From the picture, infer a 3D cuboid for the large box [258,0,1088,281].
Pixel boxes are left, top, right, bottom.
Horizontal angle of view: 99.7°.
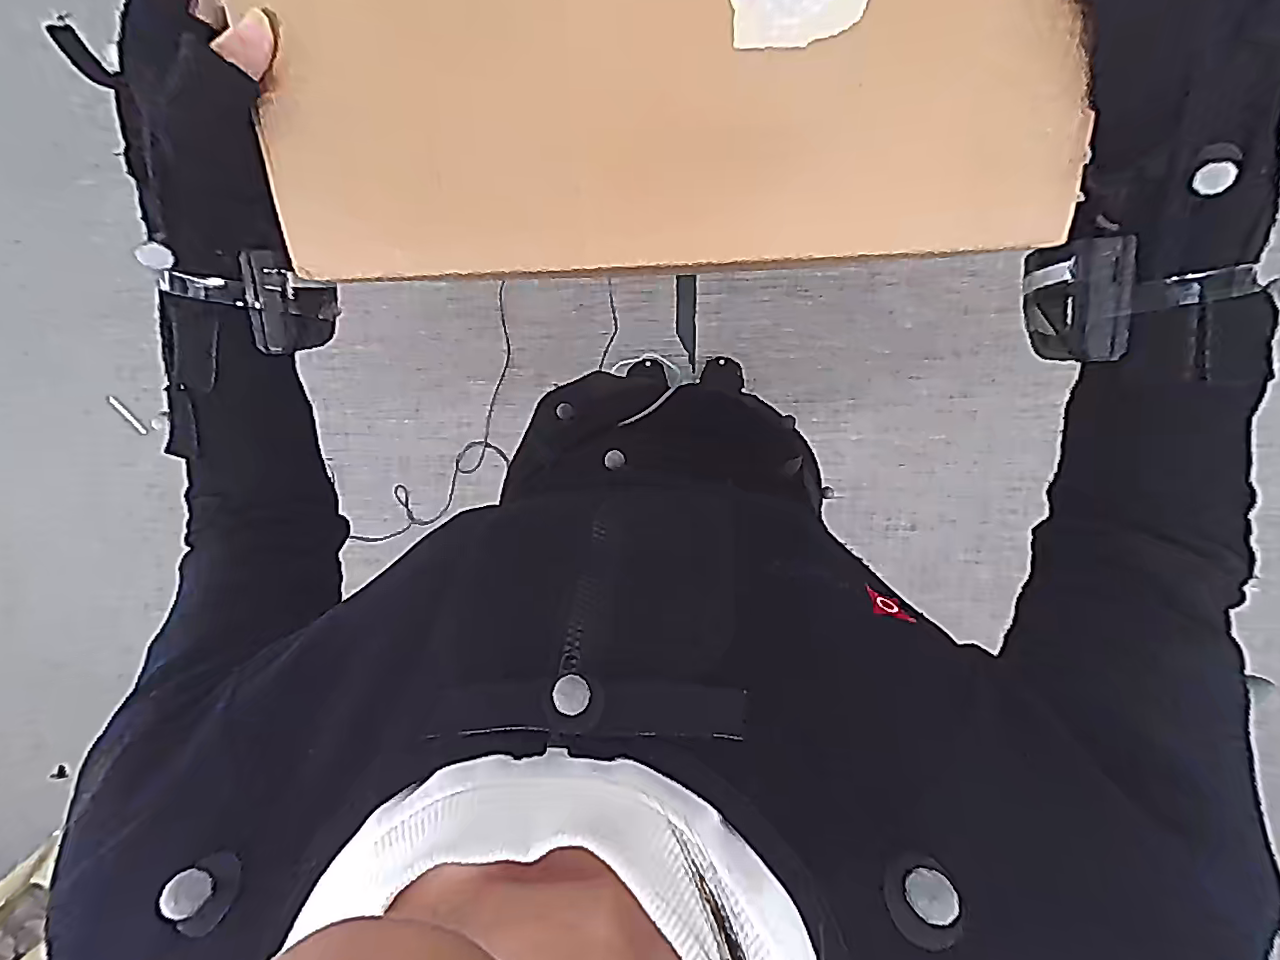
[{"bbox_3d":[0.015,-0.319,0.386,0.408,0.320,0.320,-1,111,5],"label":"large box"}]
